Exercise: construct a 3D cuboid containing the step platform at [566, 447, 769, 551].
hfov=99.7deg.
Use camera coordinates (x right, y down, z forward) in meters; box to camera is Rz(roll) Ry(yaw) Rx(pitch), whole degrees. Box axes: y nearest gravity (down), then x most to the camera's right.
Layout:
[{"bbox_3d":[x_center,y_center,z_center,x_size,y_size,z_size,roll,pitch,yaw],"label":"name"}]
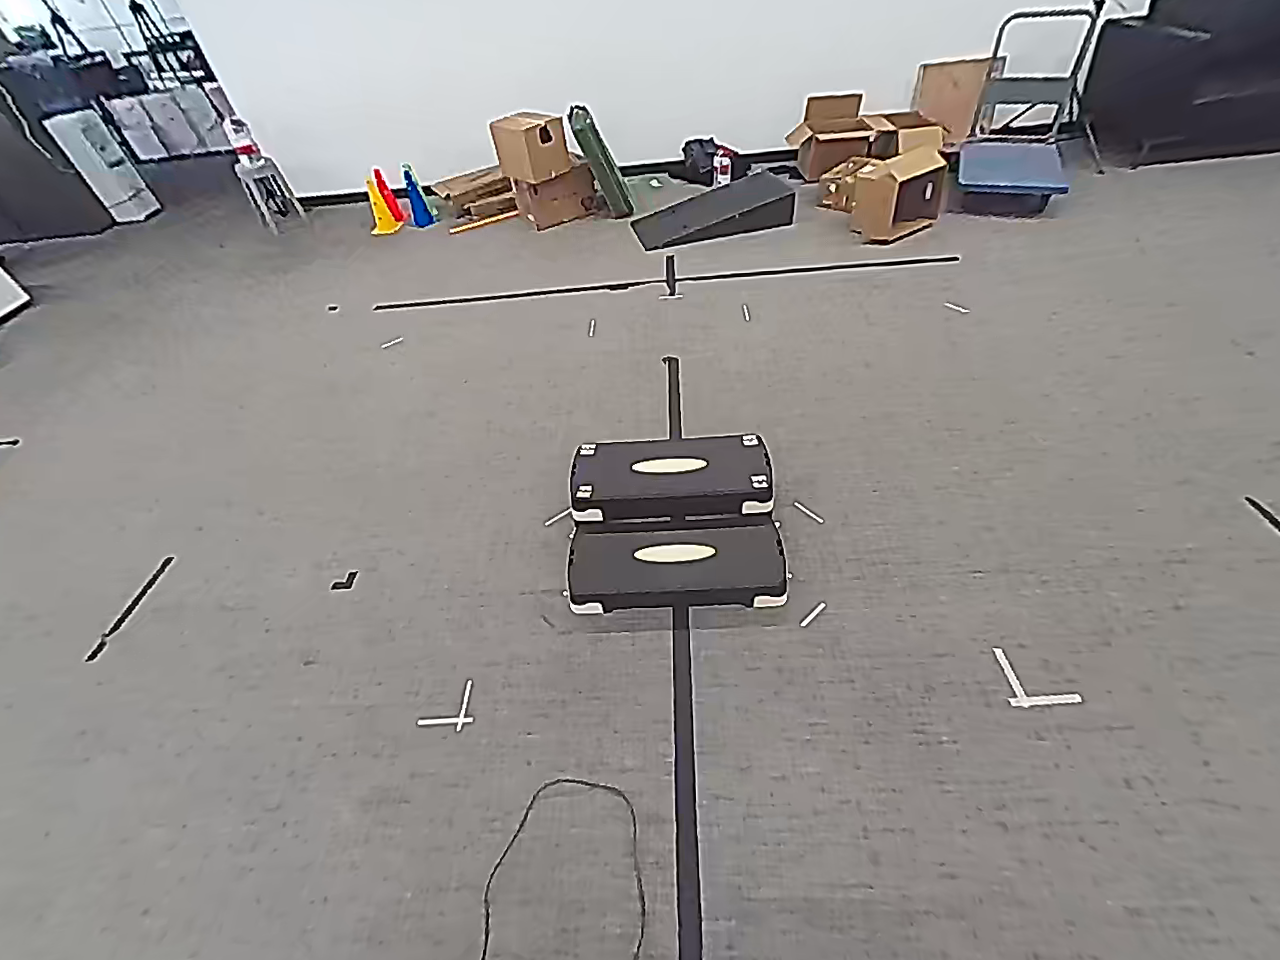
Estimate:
[{"bbox_3d":[0.090,0.058,1.853,0.684,0.204,0.286,-3,46,3],"label":"step platform"}]
